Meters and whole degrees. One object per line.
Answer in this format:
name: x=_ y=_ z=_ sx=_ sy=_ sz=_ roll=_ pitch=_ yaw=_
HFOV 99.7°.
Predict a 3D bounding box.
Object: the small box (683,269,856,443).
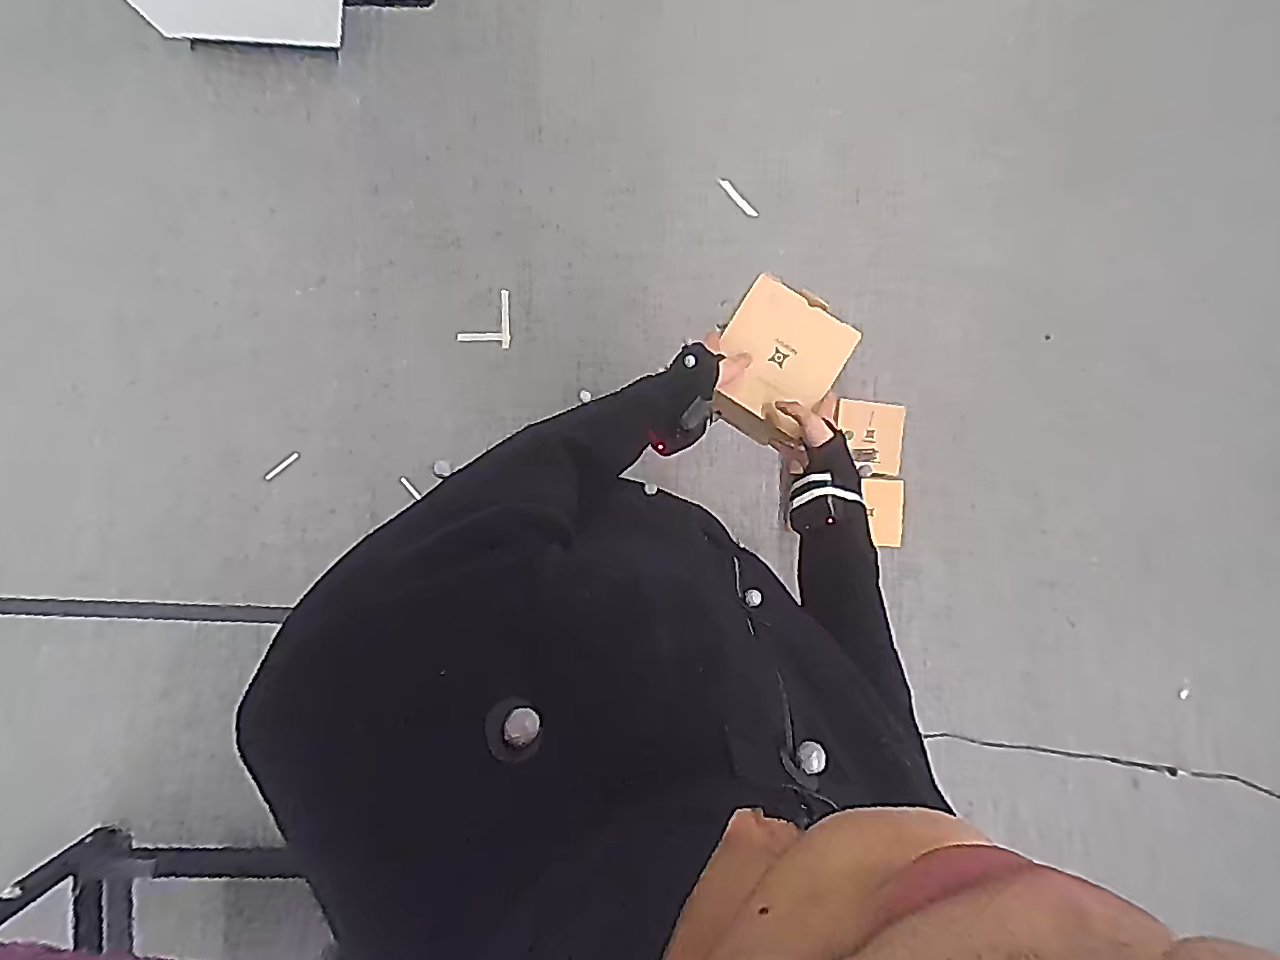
small box: x=0.179 y=-0.172 z=0.811 sx=0.168 sy=0.176 sz=0.179 roll=32 pitch=89 yaw=-3
